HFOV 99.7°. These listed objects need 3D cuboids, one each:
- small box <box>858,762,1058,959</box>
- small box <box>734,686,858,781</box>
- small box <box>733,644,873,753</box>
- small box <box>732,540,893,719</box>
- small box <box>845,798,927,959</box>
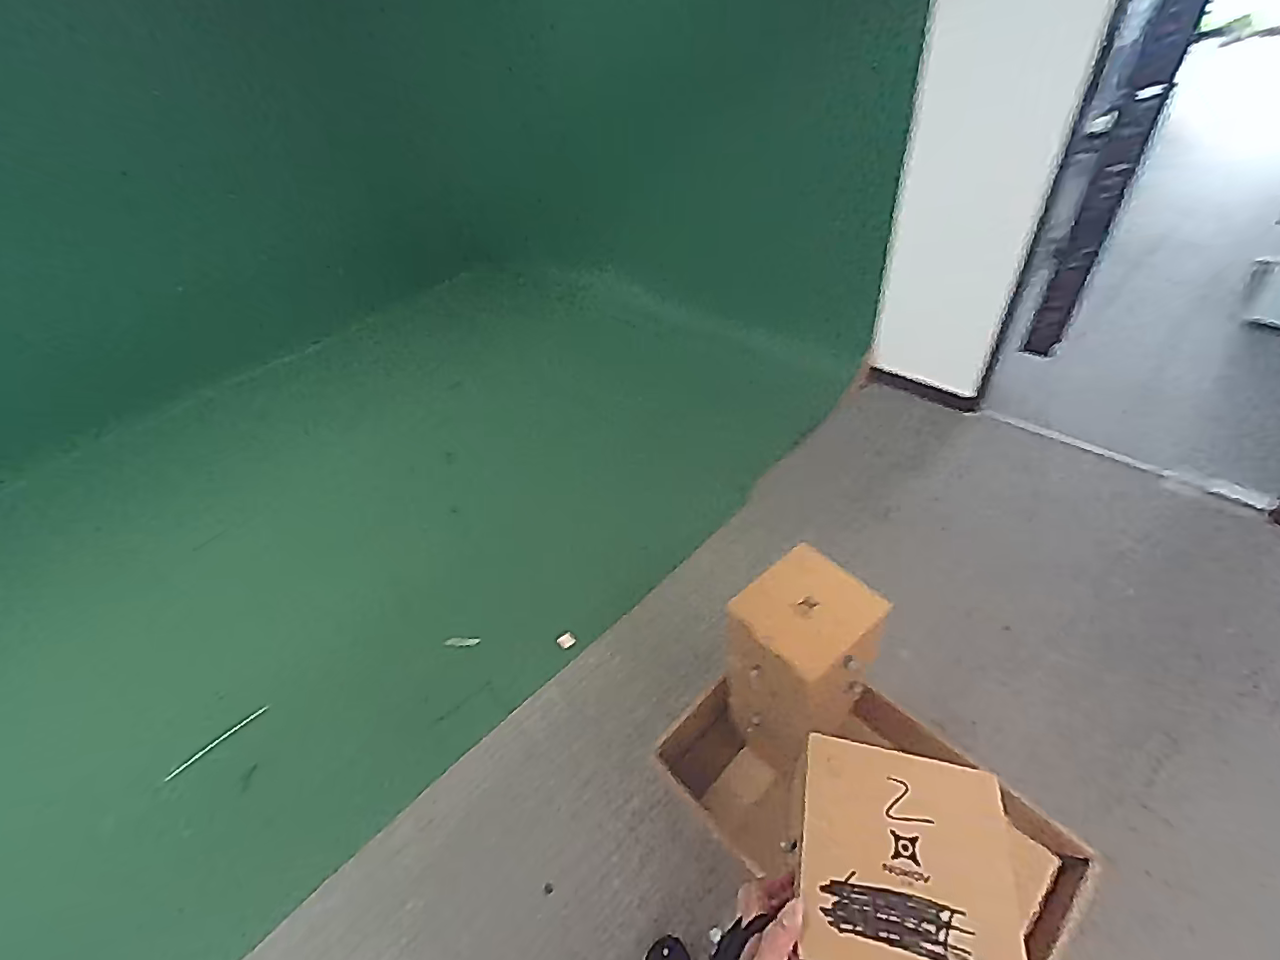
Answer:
[{"bbox_3d":[0.425,0.543,0.751,0.179,0.176,0.168,-38,50,-24],"label":"small box"},{"bbox_3d":[0.305,0.461,1.089,0.179,0.176,0.168,-35,50,-22],"label":"small box"},{"bbox_3d":[0.284,0.348,0.973,0.179,0.176,0.168,-34,48,-21],"label":"small box"},{"bbox_3d":[0.263,0.236,0.857,0.179,0.176,0.168,-34,49,-19],"label":"small box"},{"bbox_3d":[0.449,0.656,0.866,0.179,0.176,0.168,-37,50,-24],"label":"small box"}]
